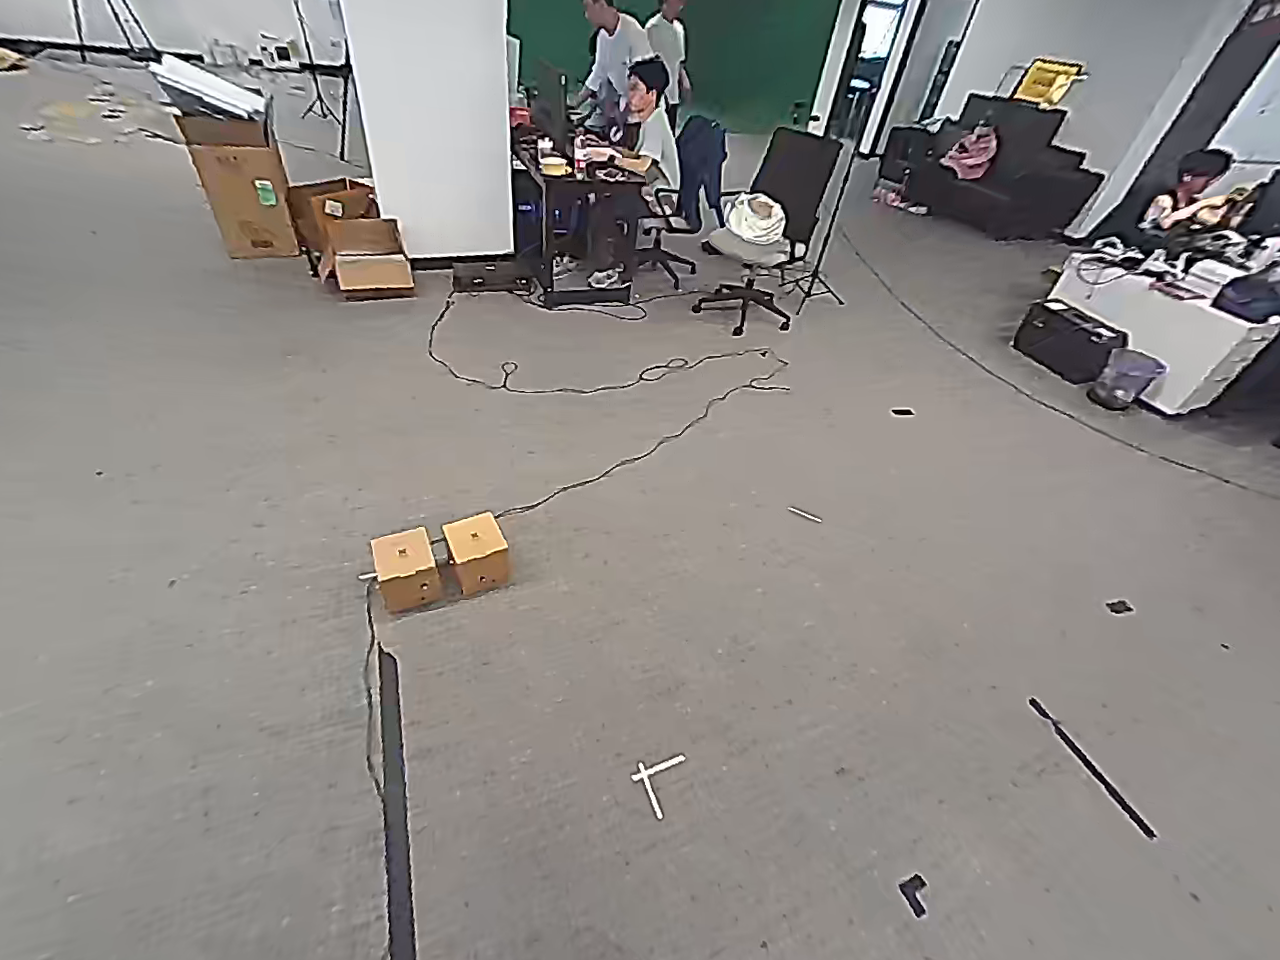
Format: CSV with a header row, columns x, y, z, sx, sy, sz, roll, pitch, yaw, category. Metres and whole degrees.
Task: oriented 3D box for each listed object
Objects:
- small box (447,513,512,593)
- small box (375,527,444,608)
x,y,z,sx,sy,sz,roll,pitch,yaw,category
-0.533,0.243,1.800,0.168,0.176,0.179,-17,48,-26,small box
-0.731,0.284,1.722,0.168,0.176,0.179,-13,46,-23,small box
